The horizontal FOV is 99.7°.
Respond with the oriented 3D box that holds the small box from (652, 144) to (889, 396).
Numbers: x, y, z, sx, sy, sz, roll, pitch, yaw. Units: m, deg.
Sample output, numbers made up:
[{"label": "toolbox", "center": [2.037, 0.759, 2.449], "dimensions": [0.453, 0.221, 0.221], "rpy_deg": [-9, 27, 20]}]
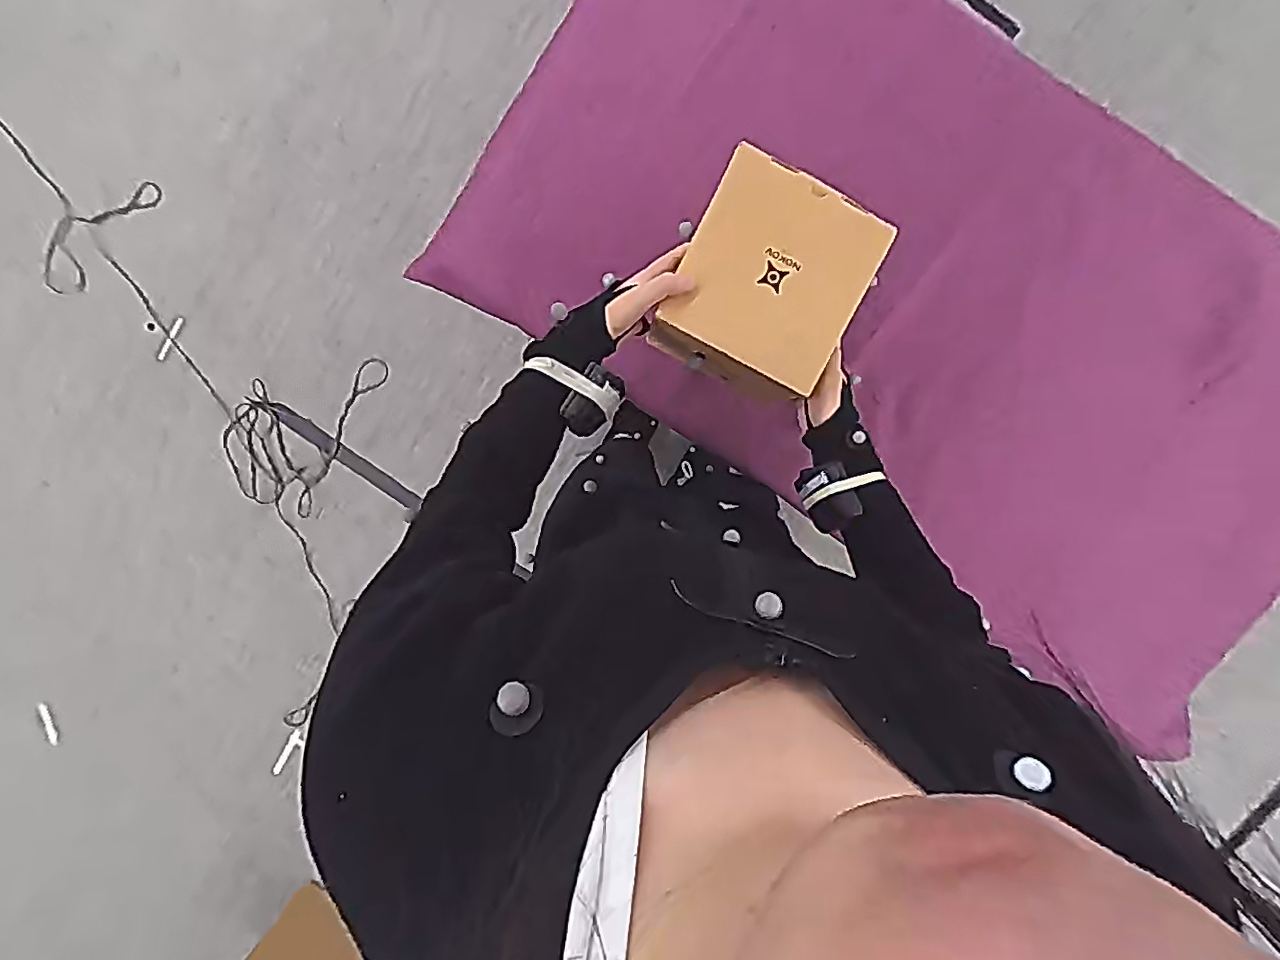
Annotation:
[{"label": "small box", "center": [0.122, -0.203, 0.583], "dimensions": [0.168, 0.176, 0.179], "rpy_deg": [27, 93, -4]}]
